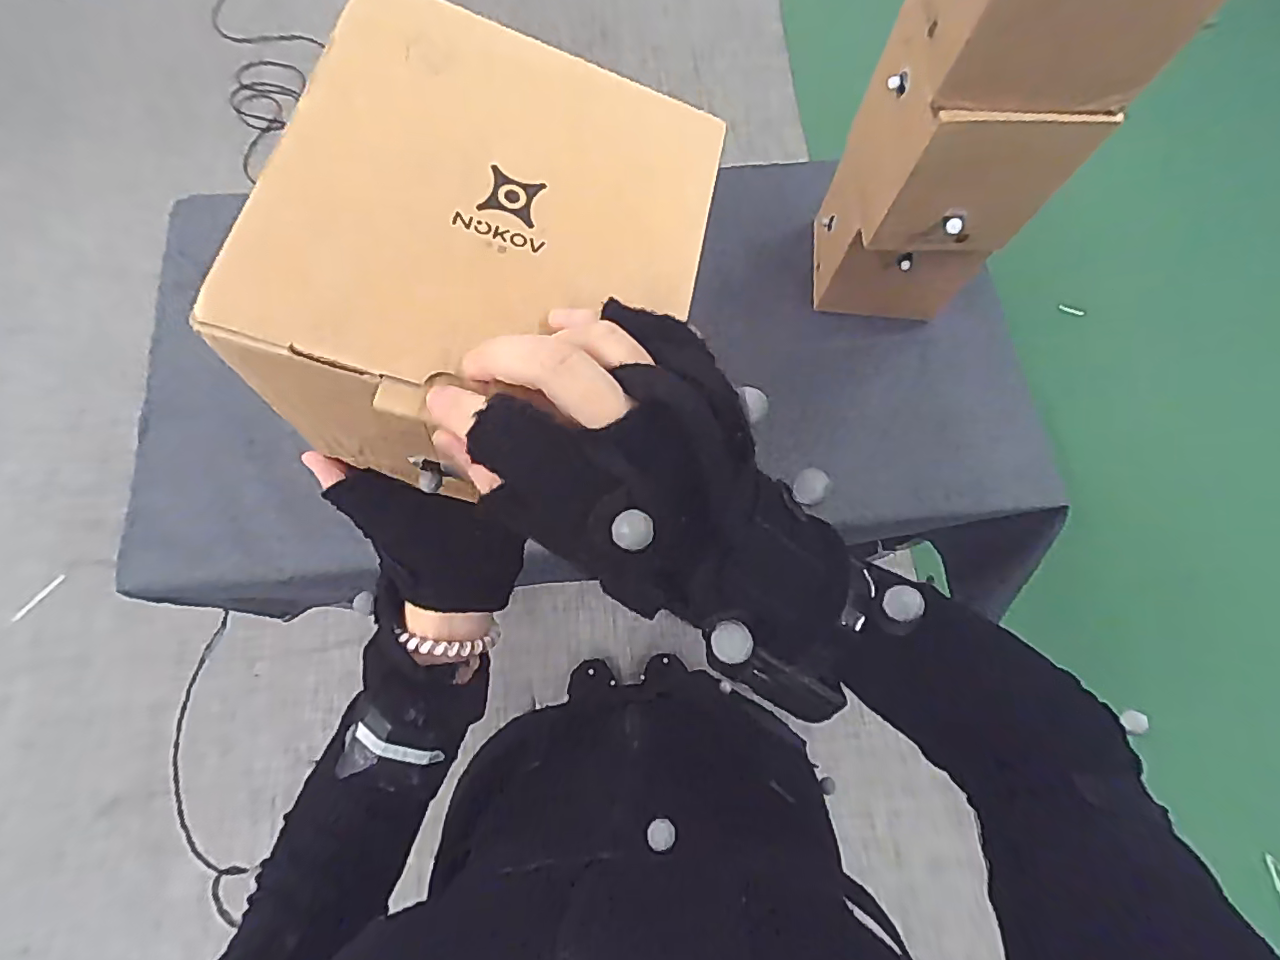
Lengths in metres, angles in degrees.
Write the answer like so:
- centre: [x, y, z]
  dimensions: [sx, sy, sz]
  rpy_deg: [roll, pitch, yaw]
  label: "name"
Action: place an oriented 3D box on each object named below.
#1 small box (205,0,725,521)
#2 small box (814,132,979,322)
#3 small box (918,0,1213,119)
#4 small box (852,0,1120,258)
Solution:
- centre: [-0.073, -0.090, 0.292]
  dimensions: [0.168, 0.176, 0.179]
  rpy_deg: [15, 73, -11]
  label: "small box"
- centre: [0.349, -0.336, 0.741]
  dimensions: [0.179, 0.176, 0.168]
  rpy_deg: [6, 73, 1]
  label: "small box"
- centre: [0.341, -0.421, 0.425]
  dimensions: [0.179, 0.176, 0.168]
  rpy_deg: [3, 73, 0]
  label: "small box"
- centre: [0.343, -0.369, 0.580]
  dimensions: [0.168, 0.176, 0.179]
  rpy_deg: [0, 73, 0]
  label: "small box"
